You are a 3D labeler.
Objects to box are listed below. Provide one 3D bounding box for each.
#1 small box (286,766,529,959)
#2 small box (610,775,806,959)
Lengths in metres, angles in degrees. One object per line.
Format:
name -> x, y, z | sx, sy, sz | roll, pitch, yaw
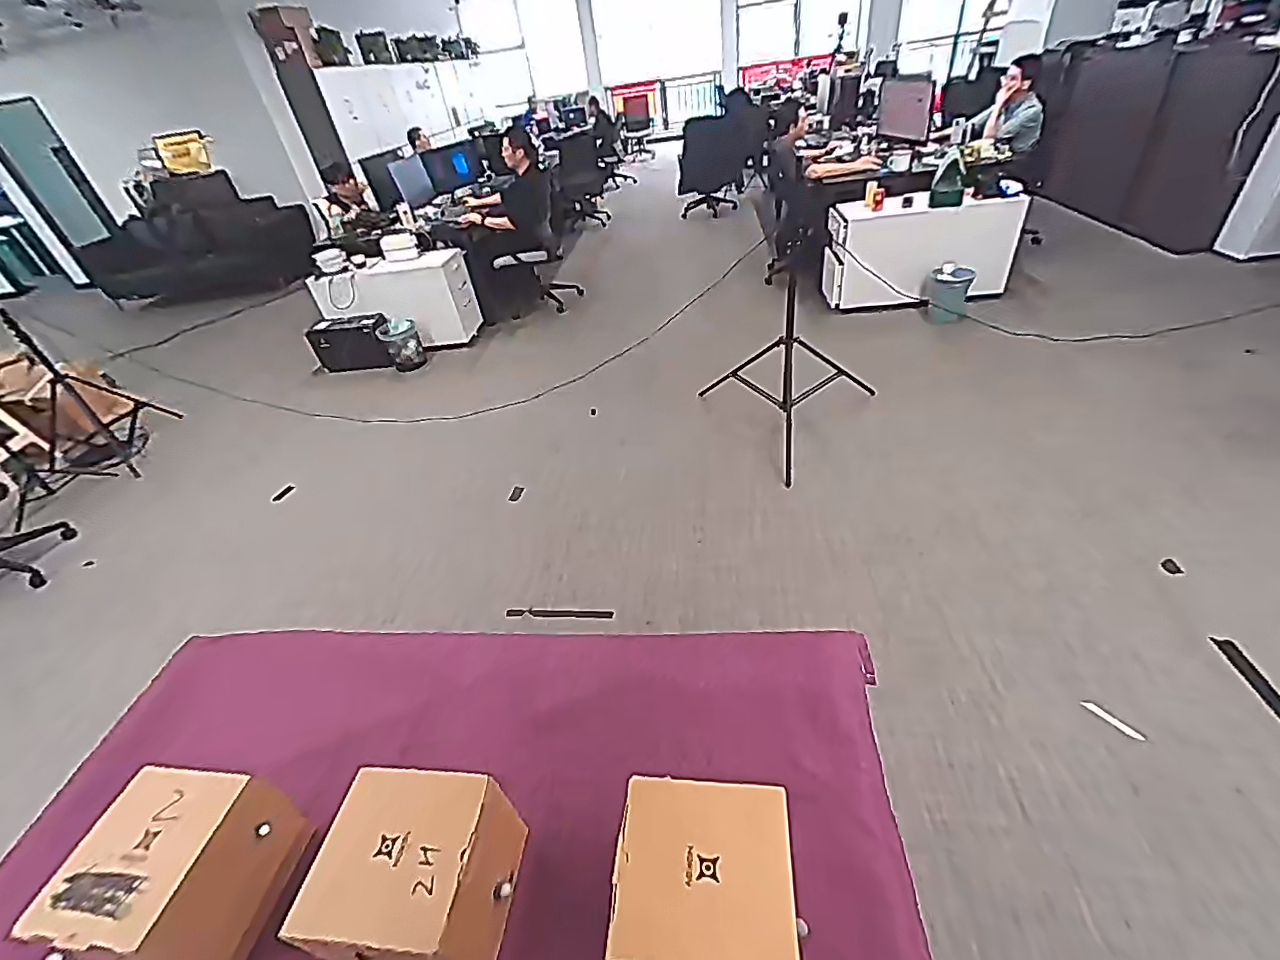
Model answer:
small box -> -0.253, 0.462, 0.637 | 0.179, 0.176, 0.168 | -2, 39, 10
small box -> 0.078, 0.447, 0.585 | 0.179, 0.176, 0.168 | -2, 37, 11
